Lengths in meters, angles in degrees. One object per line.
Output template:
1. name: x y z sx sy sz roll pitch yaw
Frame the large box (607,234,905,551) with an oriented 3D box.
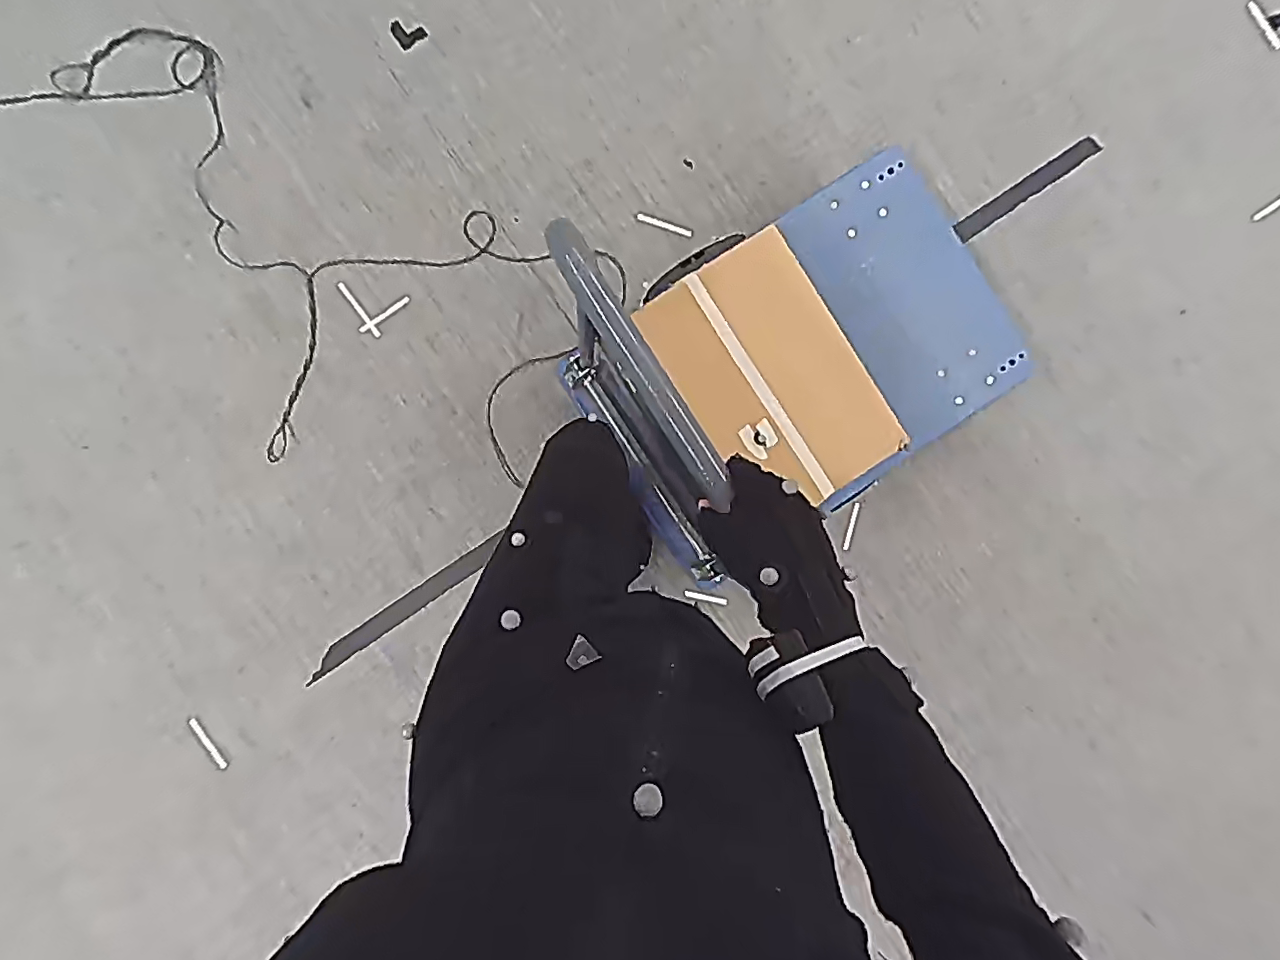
1. large box: 0.173 -0.138 0.979 0.320 0.320 0.408 -33 93 -1
